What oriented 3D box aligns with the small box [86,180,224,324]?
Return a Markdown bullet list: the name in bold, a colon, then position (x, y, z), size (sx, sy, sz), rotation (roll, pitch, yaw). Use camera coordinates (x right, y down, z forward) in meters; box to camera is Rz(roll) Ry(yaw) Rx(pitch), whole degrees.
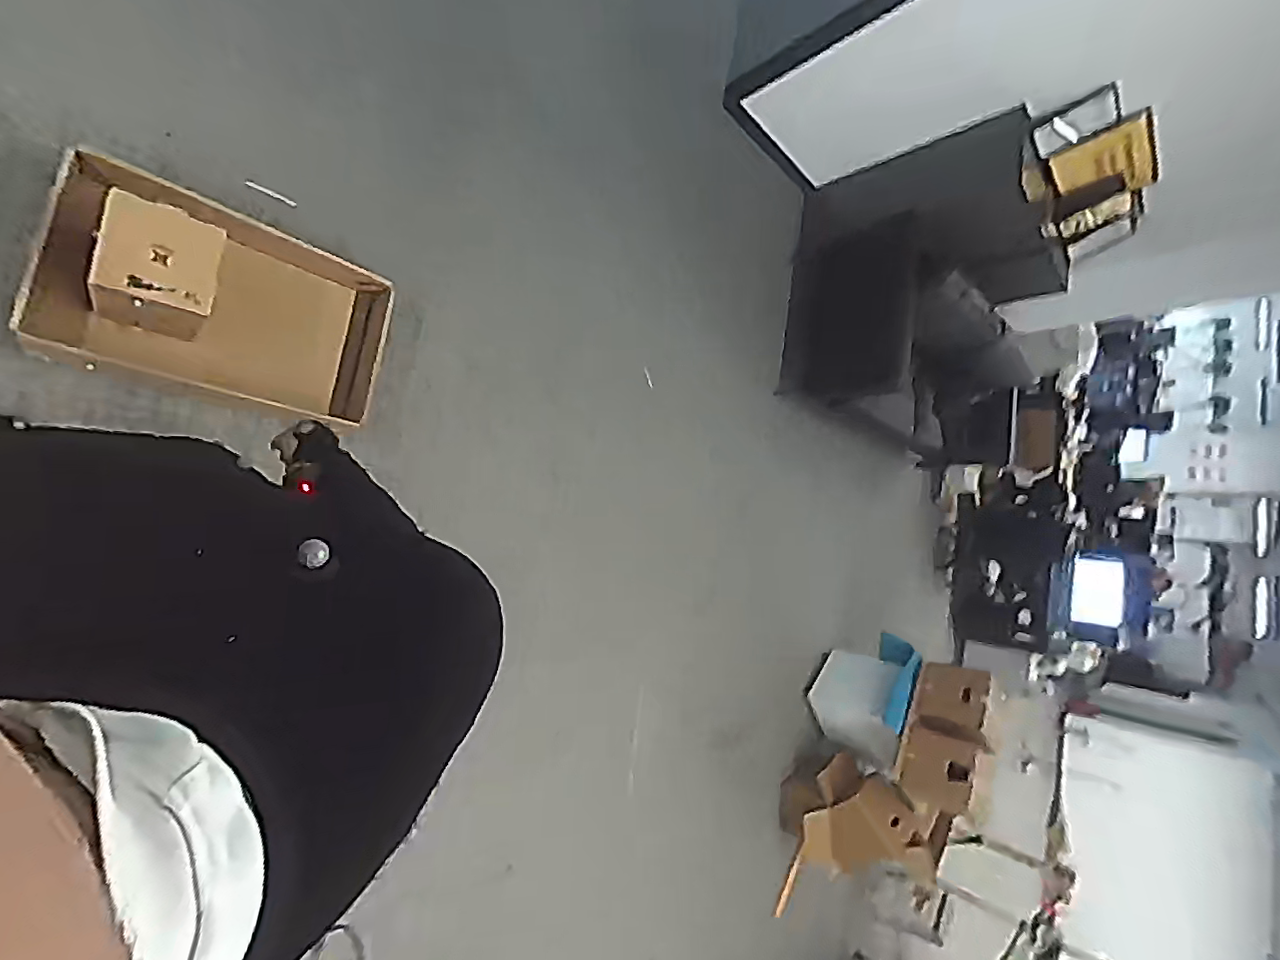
- **small box**: position (-0.920, -0.418, 1.026), size (0.168, 0.176, 0.179), rotation (12, 82, -43)
